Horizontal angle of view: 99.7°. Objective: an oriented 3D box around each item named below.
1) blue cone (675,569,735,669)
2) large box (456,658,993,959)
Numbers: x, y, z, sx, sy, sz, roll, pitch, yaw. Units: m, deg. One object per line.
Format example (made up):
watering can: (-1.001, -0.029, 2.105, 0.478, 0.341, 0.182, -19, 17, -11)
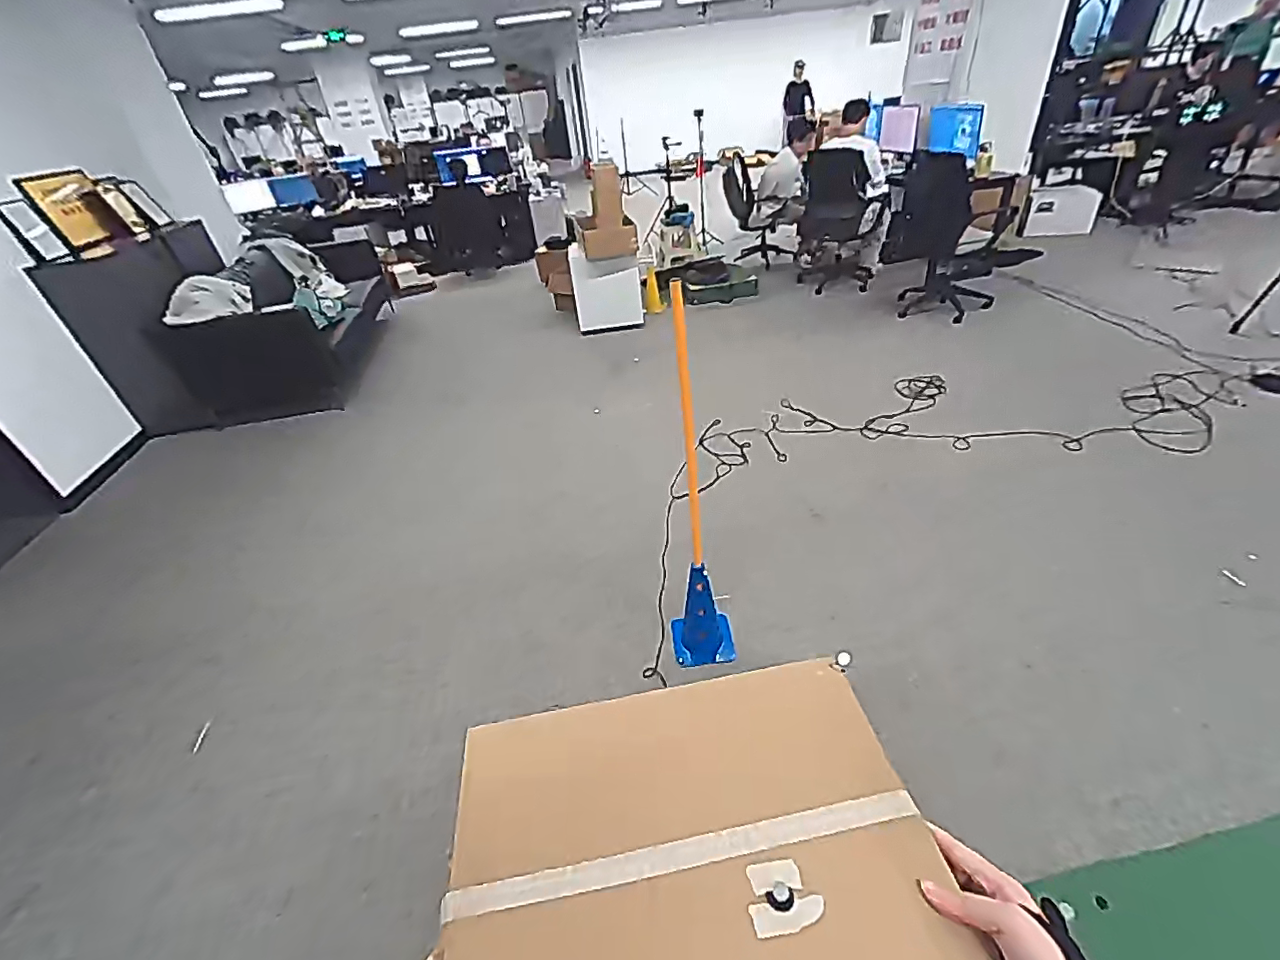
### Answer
blue cone: (0.199, 0.425, 1.750, 0.193, 0.380, 0.192, -6, 36, 2)
large box: (0.055, 0.440, 0.555, 0.408, 0.320, 0.320, -9, 37, -5)
